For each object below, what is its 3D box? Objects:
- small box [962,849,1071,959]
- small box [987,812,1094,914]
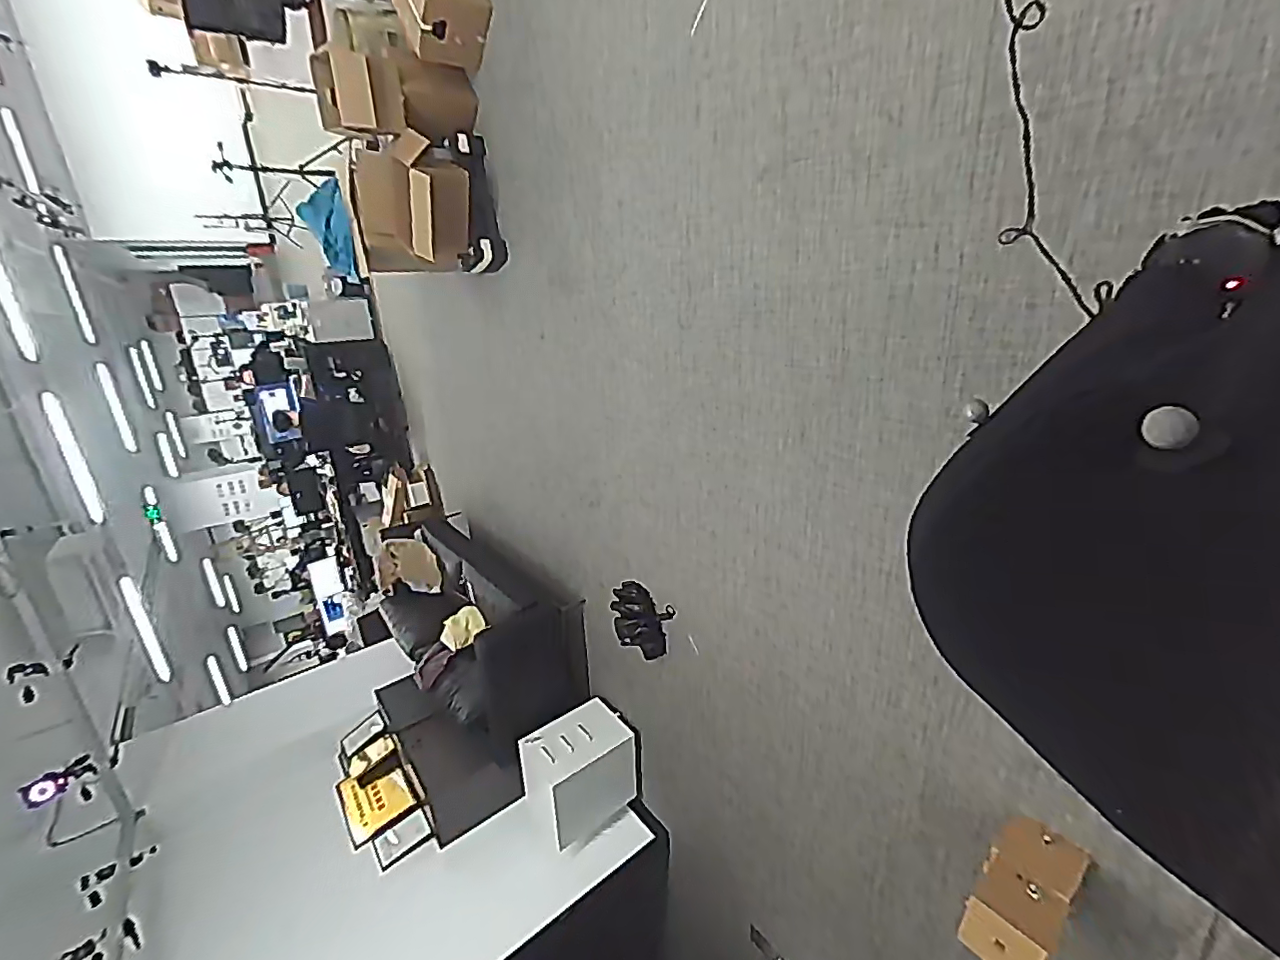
[{"bbox_3d":[0.937,1.084,1.347,0.168,0.176,0.179,22,120,46],"label":"small box"},{"bbox_3d":[1.060,1.031,1.441,0.179,0.176,0.168,24,123,48],"label":"small box"}]
